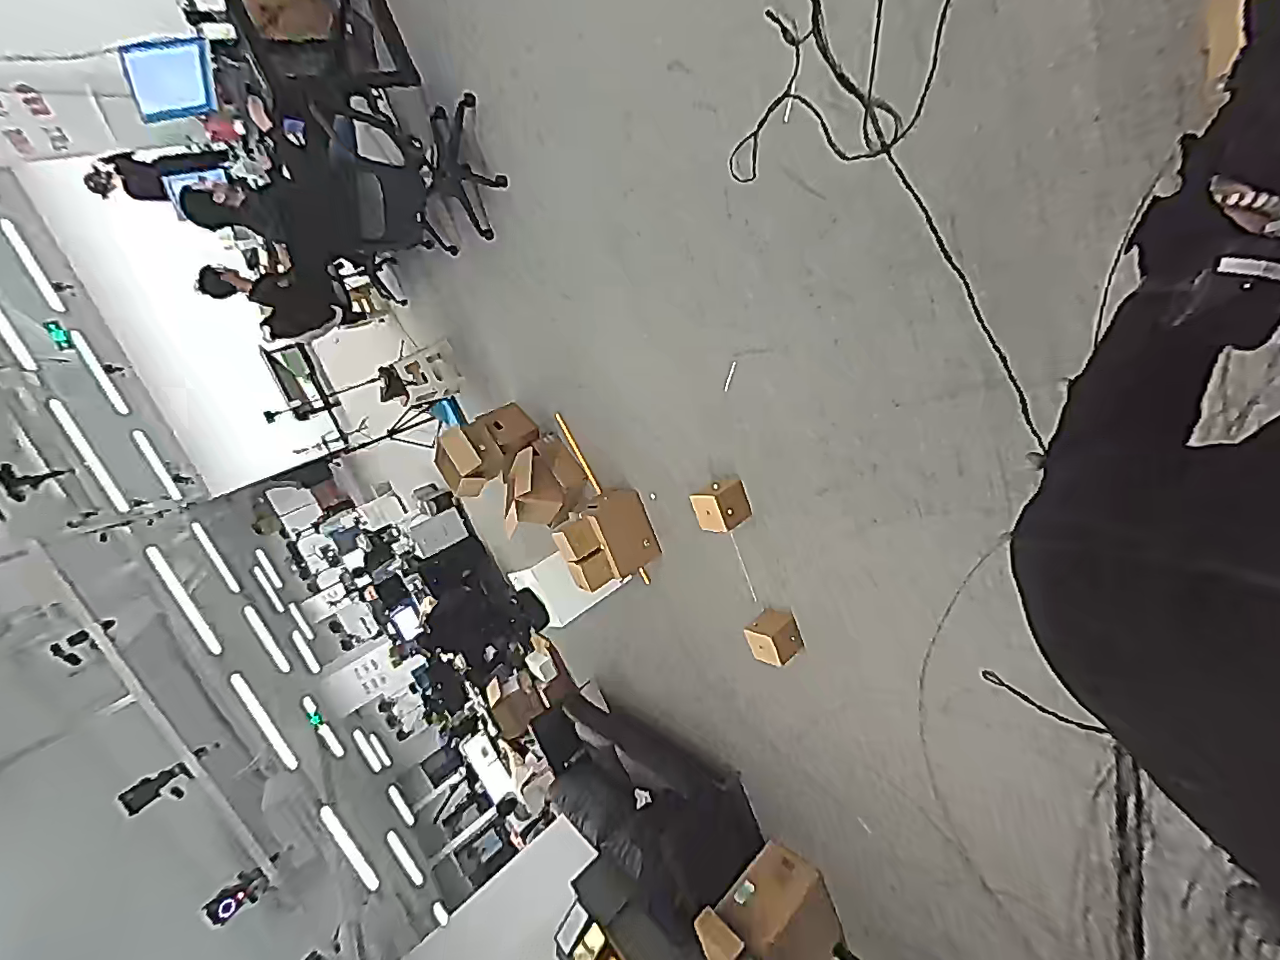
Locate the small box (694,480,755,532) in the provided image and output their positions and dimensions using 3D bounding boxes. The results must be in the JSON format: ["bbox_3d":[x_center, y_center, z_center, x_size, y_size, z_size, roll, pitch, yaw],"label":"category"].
[{"bbox_3d":[0.369,0.106,2.348,0.168,0.176,0.179,-2,115,56],"label":"small box"}]

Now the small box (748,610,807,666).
[{"bbox_3d":[0.635,0.721,2.494,0.179,0.176,0.168,-2,115,56],"label":"small box"}]
